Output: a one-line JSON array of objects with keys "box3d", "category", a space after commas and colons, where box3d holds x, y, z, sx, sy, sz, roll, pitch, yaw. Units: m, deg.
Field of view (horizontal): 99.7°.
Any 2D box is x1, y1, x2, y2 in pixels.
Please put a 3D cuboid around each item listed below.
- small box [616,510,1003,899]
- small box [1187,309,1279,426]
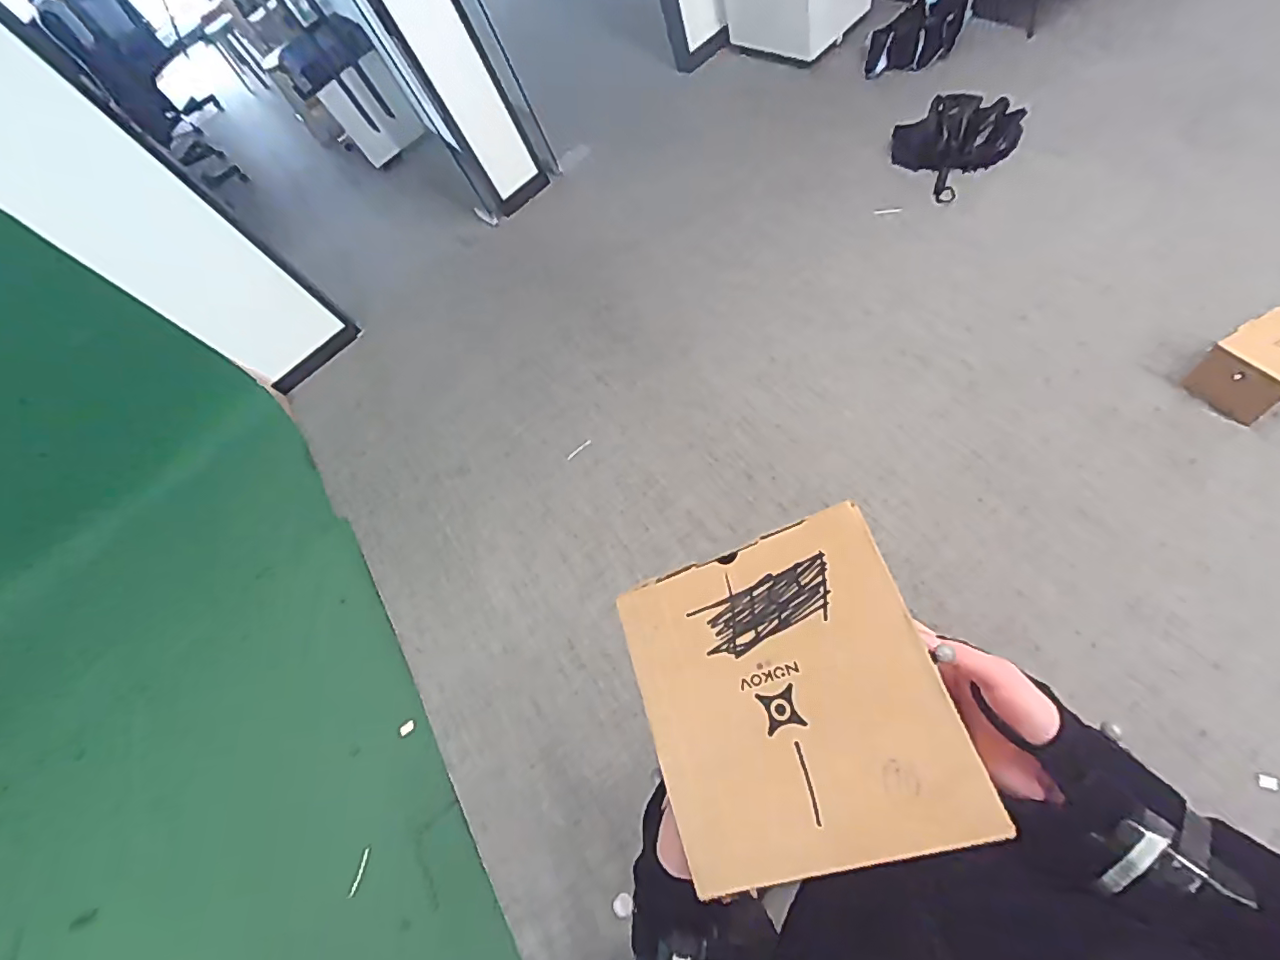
[{"box3d": [0.109, 0.144, 0.375, 0.168, 0.176, 0.179, -25, 65, 18], "category": "small box"}, {"box3d": [1.491, -0.262, 1.290, 0.168, 0.176, 0.179, -33, 59, 3], "category": "small box"}]
